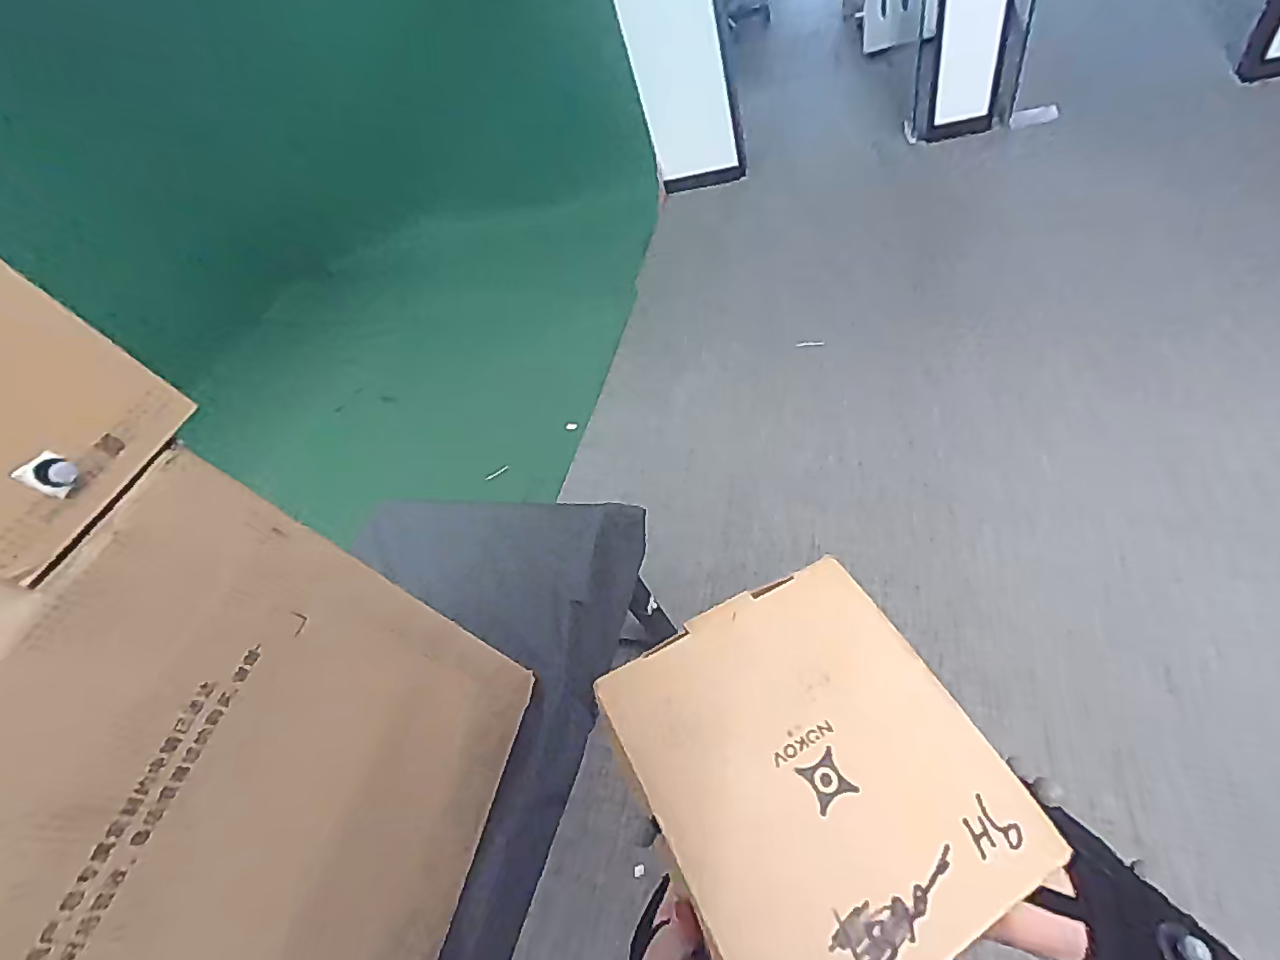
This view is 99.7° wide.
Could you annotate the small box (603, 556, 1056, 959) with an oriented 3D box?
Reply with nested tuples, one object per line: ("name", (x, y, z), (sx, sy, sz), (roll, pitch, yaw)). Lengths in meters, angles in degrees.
("small box", (0.086, 0.184, 0.341), (0.168, 0.176, 0.179), (-23, 59, -16))

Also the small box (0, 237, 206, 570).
("small box", (-0.477, -0.051, 0.380), (0.179, 0.176, 0.168), (4, 57, 23))
